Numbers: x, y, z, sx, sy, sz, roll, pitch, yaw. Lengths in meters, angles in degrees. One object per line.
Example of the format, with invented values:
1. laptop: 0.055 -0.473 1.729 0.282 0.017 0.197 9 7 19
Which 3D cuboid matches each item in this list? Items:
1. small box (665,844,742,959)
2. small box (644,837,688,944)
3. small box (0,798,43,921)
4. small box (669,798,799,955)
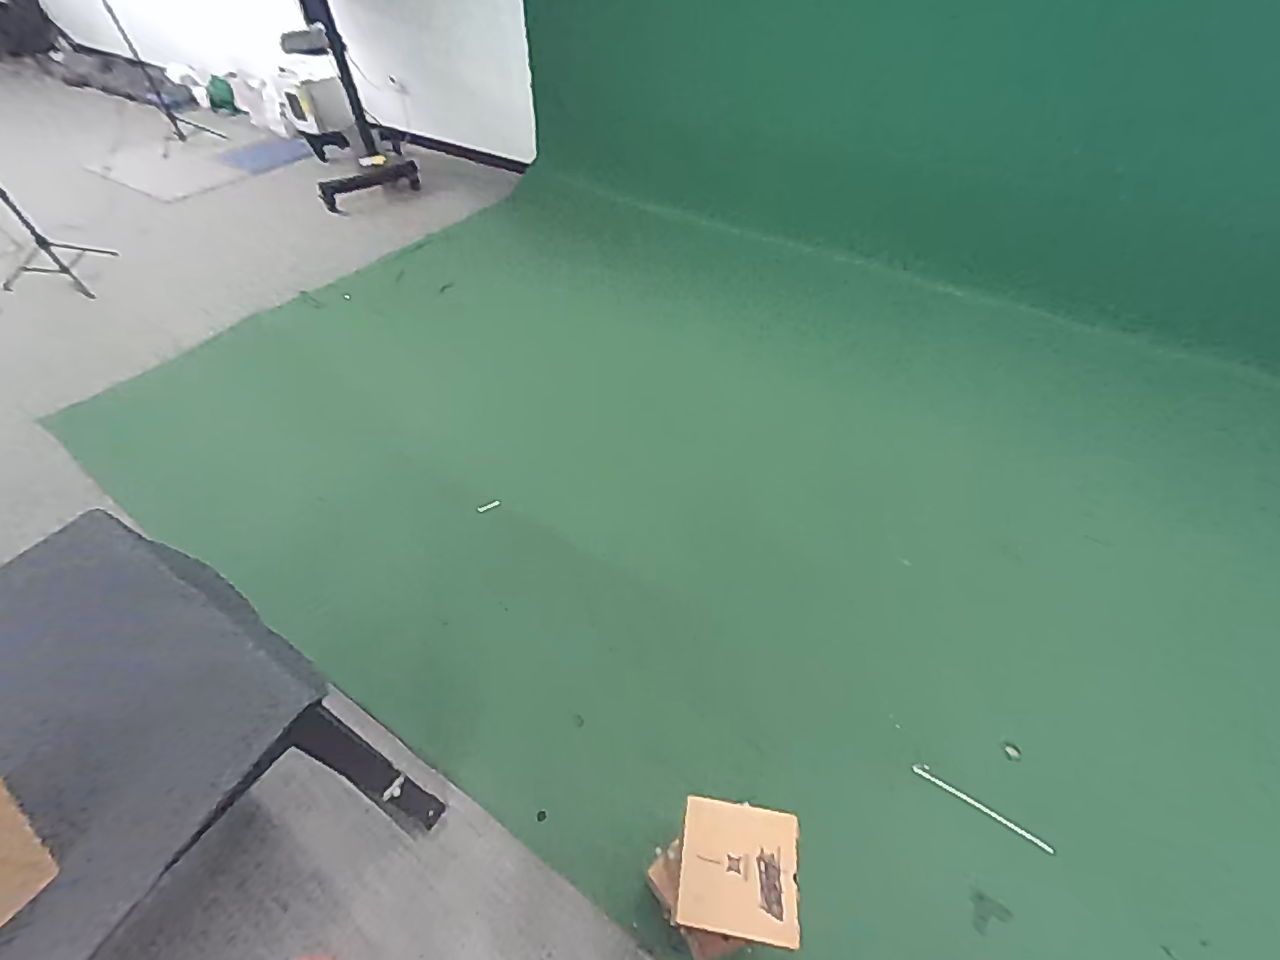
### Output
1. small box: 0.151 0.740 0.984 0.179 0.176 0.168 -15 52 -14
2. small box: 0.125 0.830 1.120 0.179 0.176 0.168 -33 57 -26
3. small box: -0.752 0.396 0.514 0.179 0.176 0.168 25 53 21
4. small box: 0.146 0.629 0.862 0.179 0.176 0.168 7 50 6
